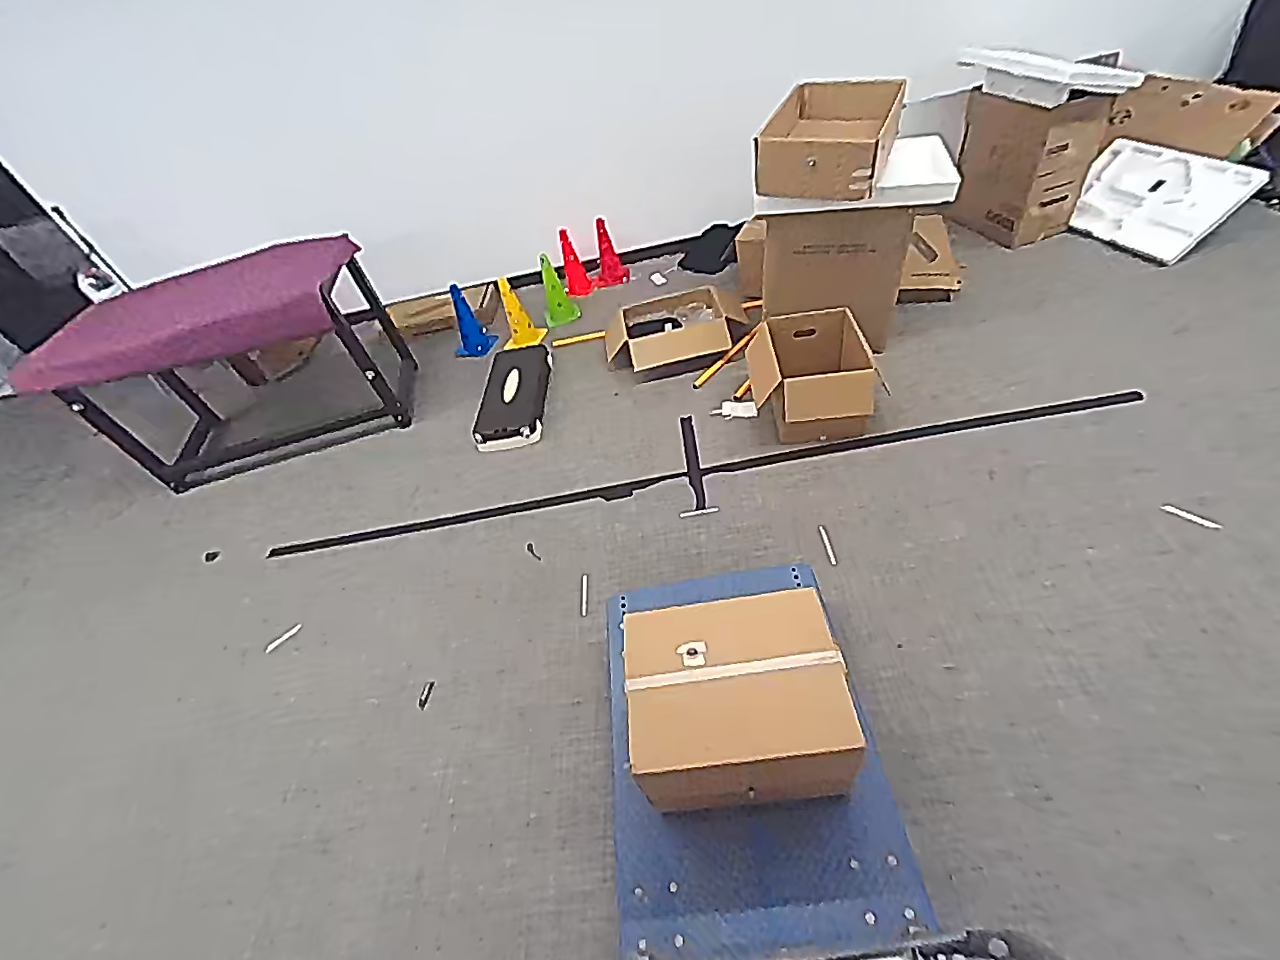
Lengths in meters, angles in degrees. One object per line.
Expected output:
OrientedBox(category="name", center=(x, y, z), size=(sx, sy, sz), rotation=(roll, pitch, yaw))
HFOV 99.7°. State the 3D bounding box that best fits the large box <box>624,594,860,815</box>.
OrientedBox(category="large box", center=(0.202, 0.482, 1.145), size=(0.408, 0.320, 0.320), rotation=(-11, 45, 6))
